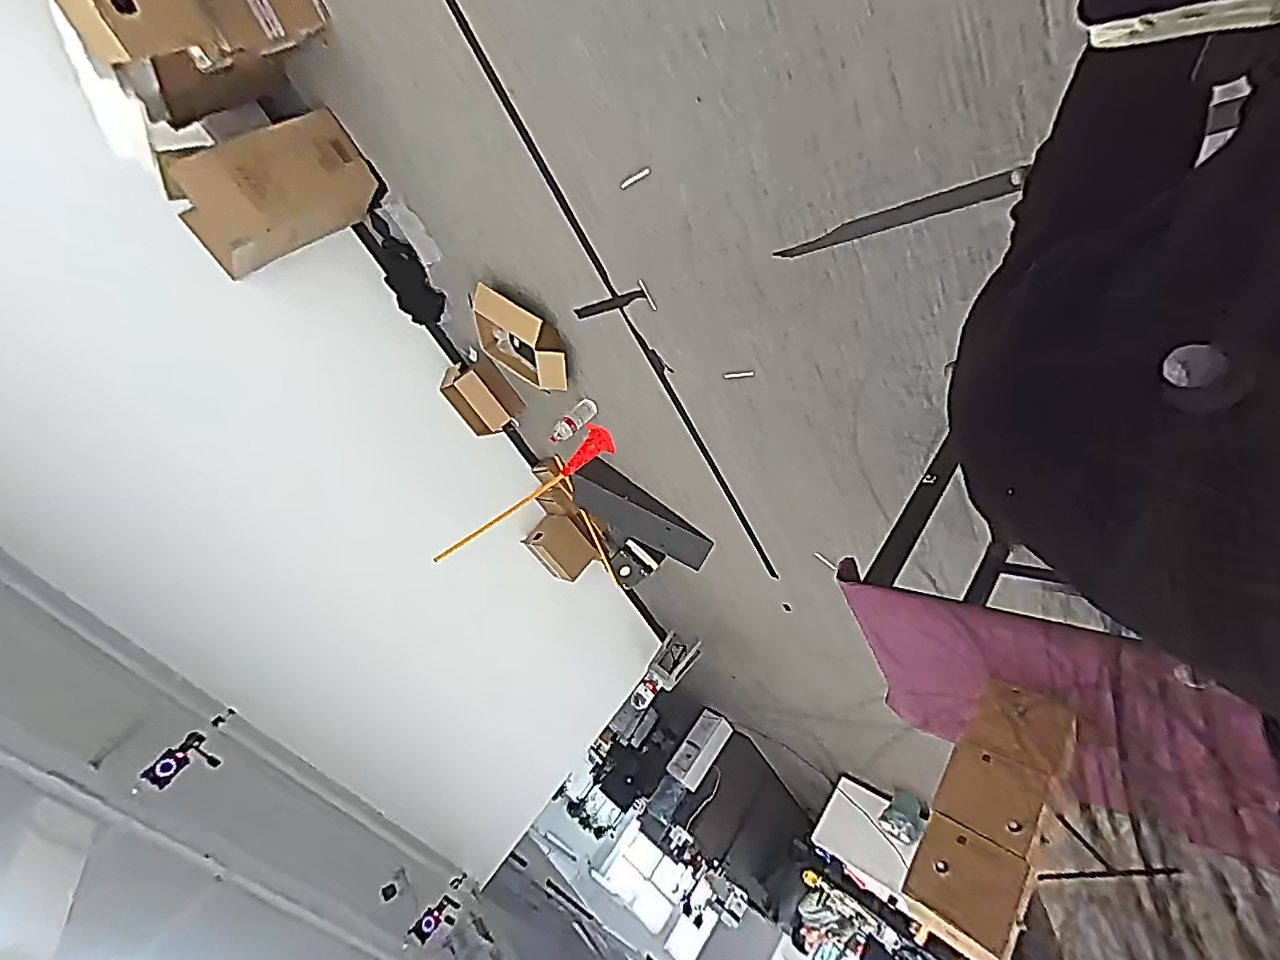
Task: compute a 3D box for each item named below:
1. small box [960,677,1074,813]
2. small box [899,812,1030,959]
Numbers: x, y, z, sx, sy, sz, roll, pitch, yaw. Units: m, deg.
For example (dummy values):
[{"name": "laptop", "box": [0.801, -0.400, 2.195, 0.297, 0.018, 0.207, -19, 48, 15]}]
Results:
[{"name": "small box", "box": [0.823, 0.569, 1.177, 0.168, 0.176, 0.179, 11, 140, 47]}, {"name": "small box", "box": [0.620, 0.779, 1.029, 0.168, 0.176, 0.179, 15, 144, 47]}]
